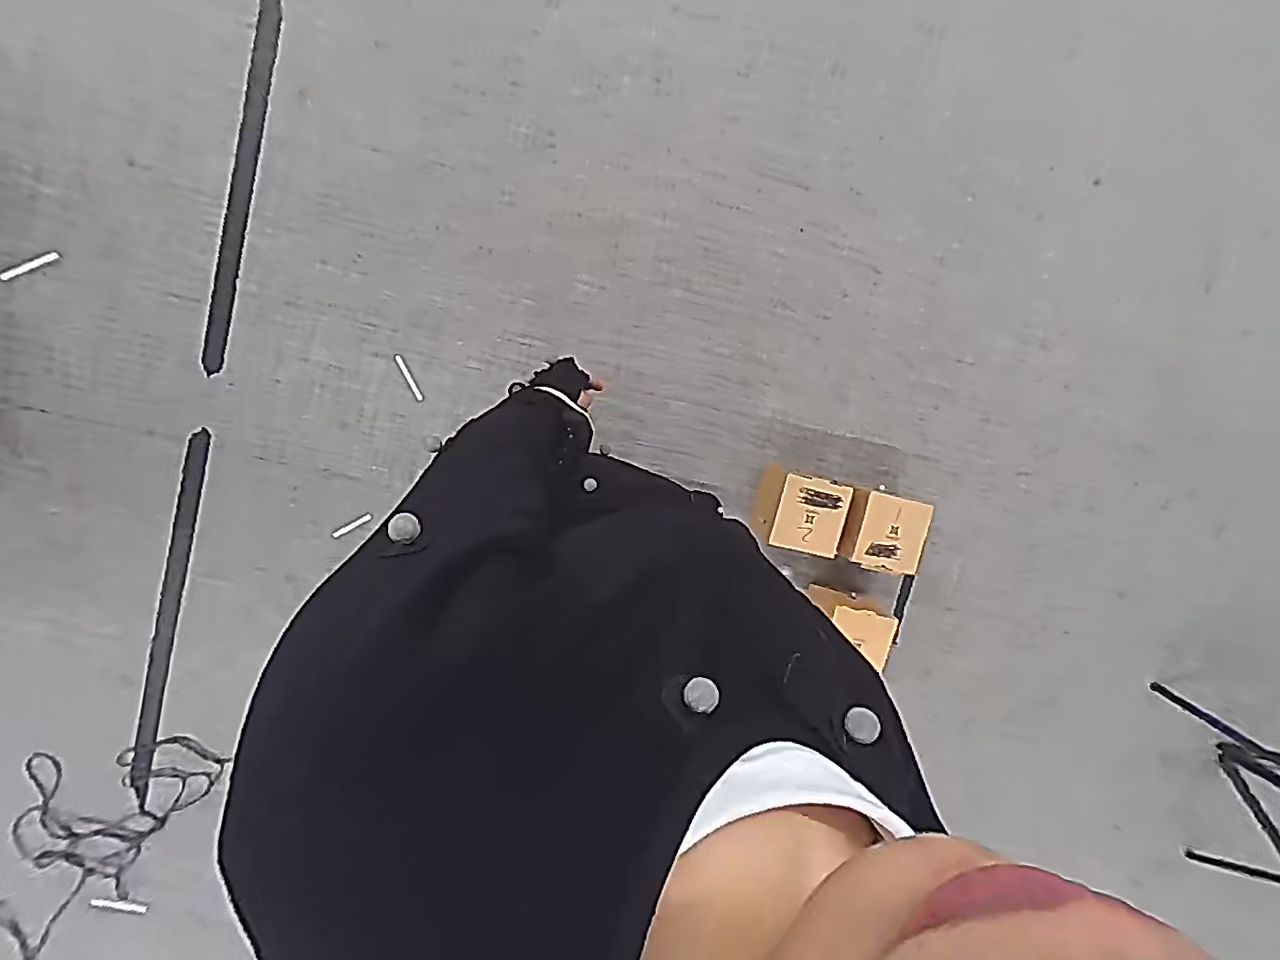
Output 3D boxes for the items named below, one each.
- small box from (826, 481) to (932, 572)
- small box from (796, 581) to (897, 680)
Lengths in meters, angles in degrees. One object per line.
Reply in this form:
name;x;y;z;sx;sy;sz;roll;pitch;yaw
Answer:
small box;0.593;0.110;1.368;0.168;0.176;0.179;14;96;-5
small box;0.523;0.384;1.400;0.168;0.176;0.179;15;96;-5
